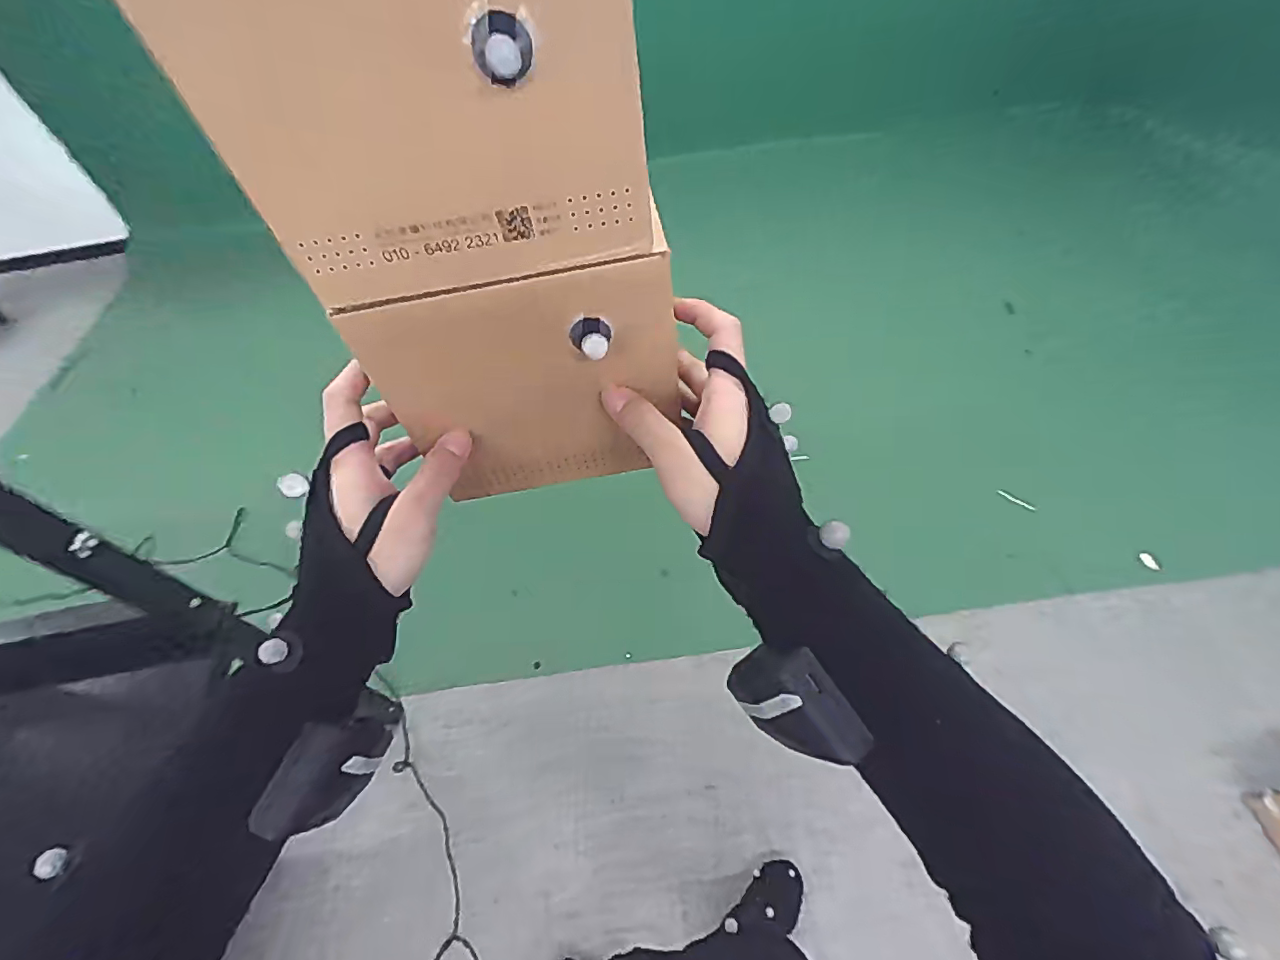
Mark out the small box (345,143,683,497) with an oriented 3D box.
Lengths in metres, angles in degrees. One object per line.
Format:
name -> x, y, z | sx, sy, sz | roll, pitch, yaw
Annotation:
small box -> -0.065, -0.108, 0.387 | 0.179, 0.176, 0.168 | -9, 51, 2

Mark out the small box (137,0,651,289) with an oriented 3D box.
small box -> -0.089, -0.210, 0.262 | 0.168, 0.176, 0.179 | -8, 52, 2
